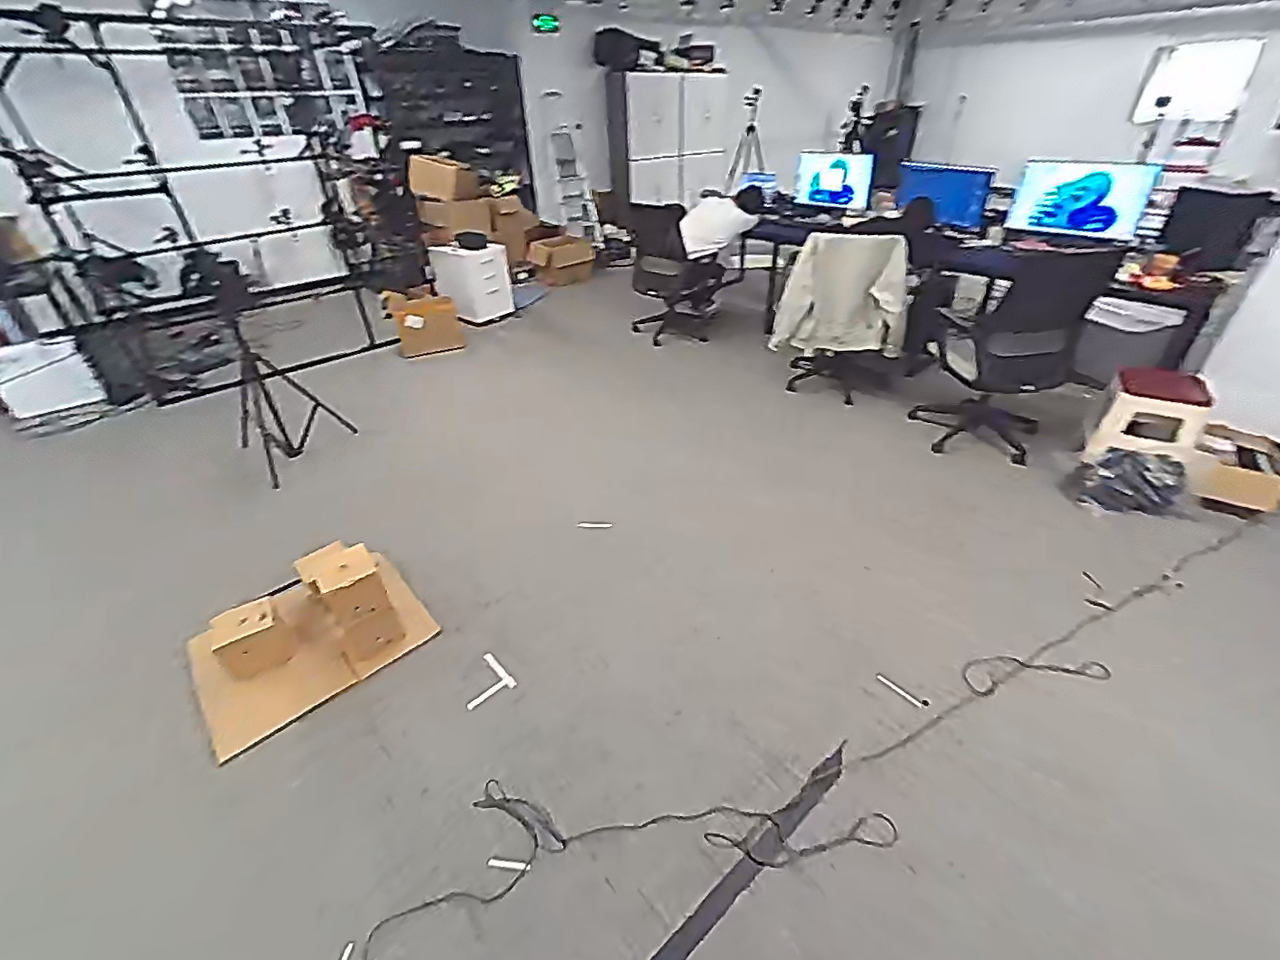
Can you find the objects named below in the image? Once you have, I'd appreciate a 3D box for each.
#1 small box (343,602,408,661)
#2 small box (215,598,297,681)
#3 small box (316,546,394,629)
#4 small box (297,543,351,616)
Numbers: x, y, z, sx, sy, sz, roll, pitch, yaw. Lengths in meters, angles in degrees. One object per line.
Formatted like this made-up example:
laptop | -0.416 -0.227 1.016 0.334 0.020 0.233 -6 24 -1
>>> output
small box | -0.937 0.491 1.882 0.168 0.176 0.179 -29 43 -32
small box | -1.296 0.543 1.828 0.179 0.176 0.168 -23 40 -25
small box | -0.941 0.357 1.790 0.168 0.176 0.179 -26 42 -30
small box | -1.161 0.379 2.063 0.168 0.176 0.179 25 43 36
